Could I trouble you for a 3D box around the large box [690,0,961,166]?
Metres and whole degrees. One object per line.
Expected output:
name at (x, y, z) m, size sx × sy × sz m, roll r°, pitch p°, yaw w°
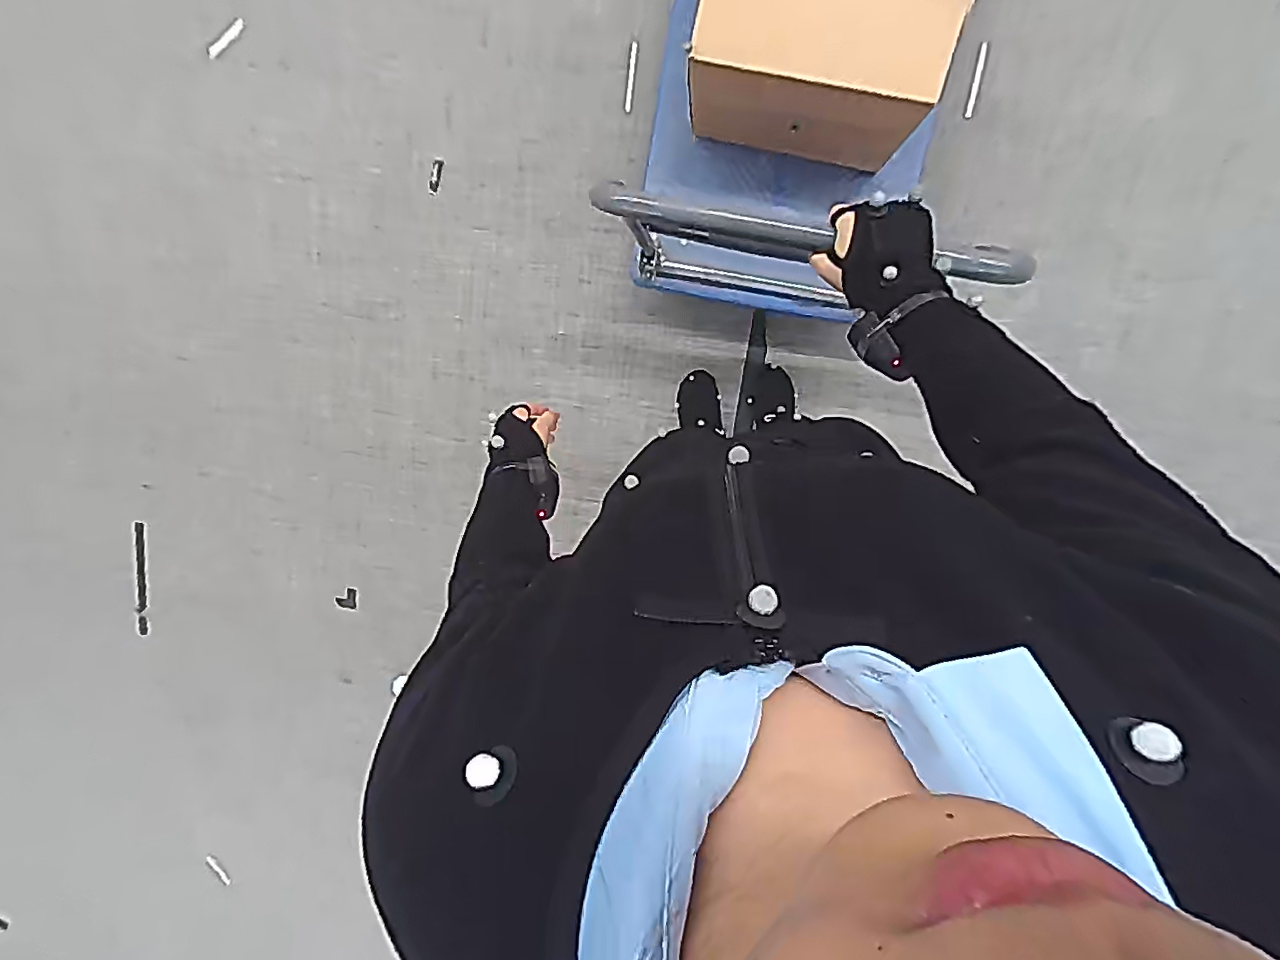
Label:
large box at (0.326, -0.819, 0.989) m, size 0.408 × 0.320 × 0.320 m, roll 14°, pitch 102°, yaw 5°
